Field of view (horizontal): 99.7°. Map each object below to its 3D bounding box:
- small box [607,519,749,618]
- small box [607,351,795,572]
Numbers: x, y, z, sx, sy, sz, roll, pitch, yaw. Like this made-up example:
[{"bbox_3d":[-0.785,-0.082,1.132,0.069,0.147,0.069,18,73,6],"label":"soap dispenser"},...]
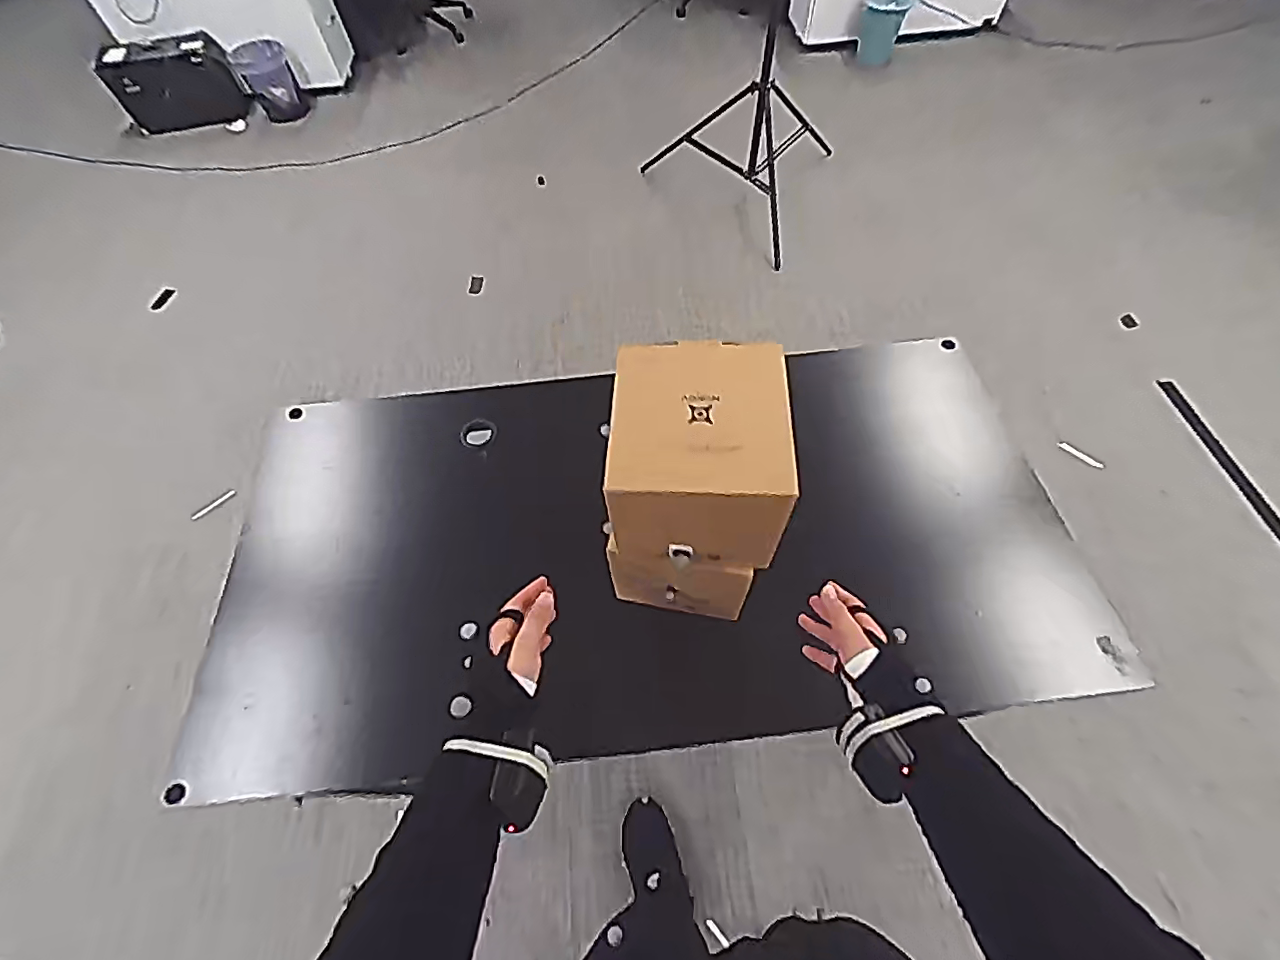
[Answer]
[{"bbox_3d":[0.062,0.068,0.716,0.168,0.176,0.179,9,59,8],"label":"small box"},{"bbox_3d":[0.060,-0.015,0.576,0.168,0.176,0.179,1,60,4],"label":"small box"}]
